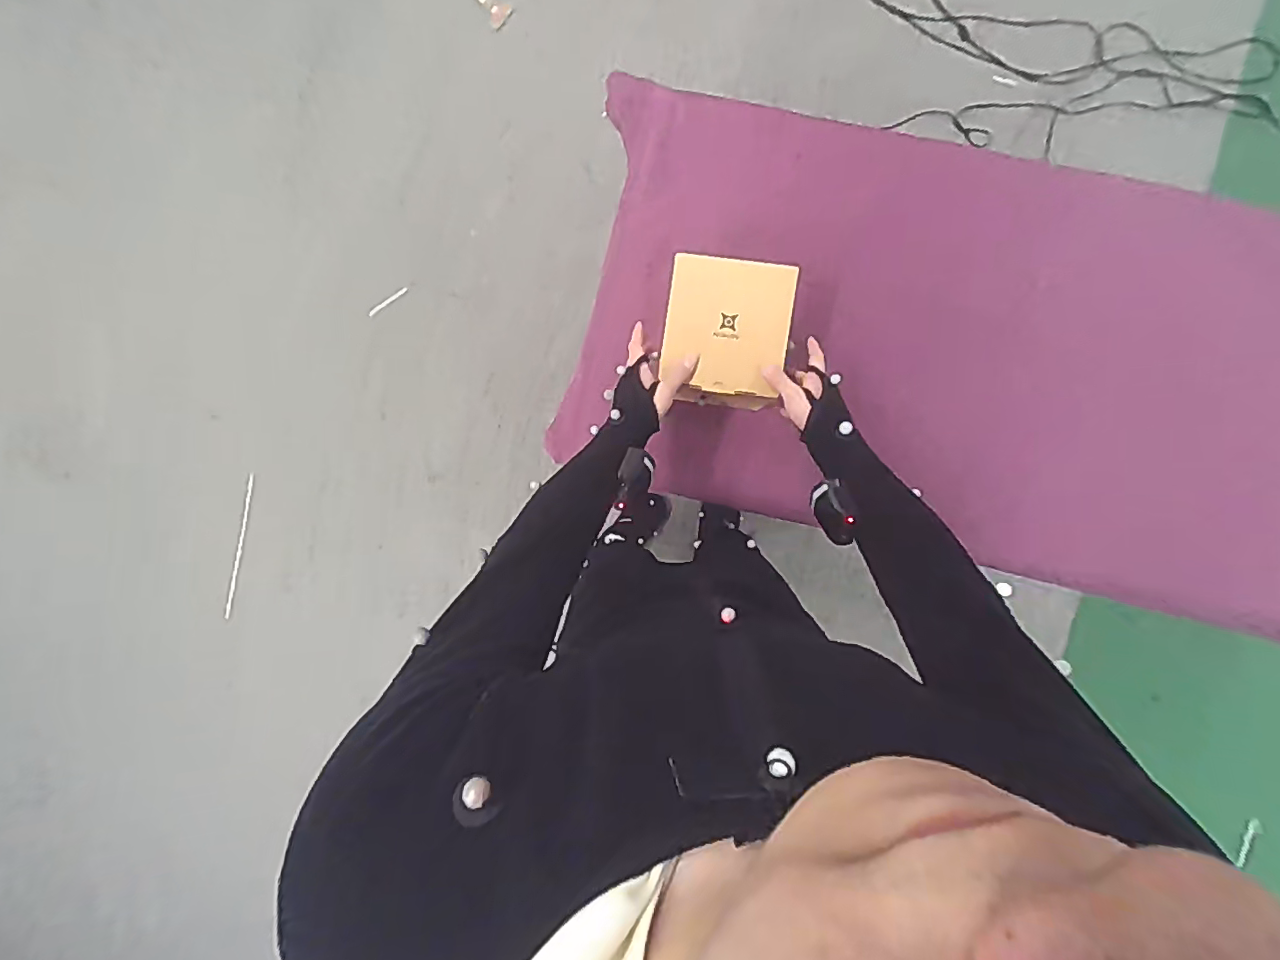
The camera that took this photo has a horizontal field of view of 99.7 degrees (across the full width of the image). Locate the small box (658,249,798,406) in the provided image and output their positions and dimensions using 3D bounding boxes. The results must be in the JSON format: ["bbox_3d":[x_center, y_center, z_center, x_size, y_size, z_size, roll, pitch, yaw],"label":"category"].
[{"bbox_3d":[0.118,-0.210,0.789,0.168,0.176,0.179,8,94,3],"label":"small box"}]
